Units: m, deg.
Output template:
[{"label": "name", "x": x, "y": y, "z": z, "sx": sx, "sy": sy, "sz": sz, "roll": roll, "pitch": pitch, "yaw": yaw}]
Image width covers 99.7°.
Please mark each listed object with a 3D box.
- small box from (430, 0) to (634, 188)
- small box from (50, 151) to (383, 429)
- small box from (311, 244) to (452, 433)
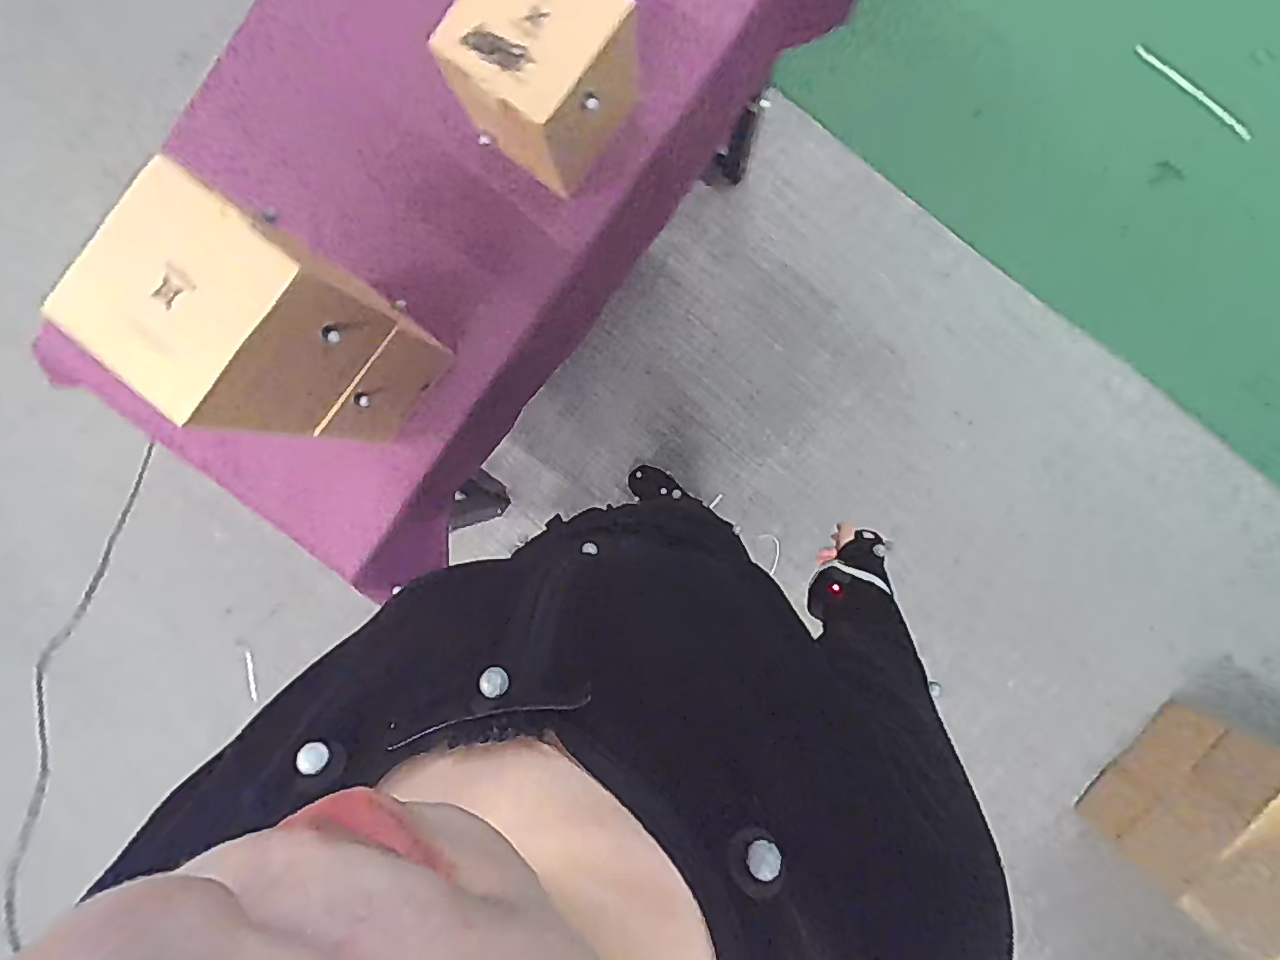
[{"label": "small box", "x": -0.120, "y": -0.517, "z": 0.683, "sx": 0.168, "sy": 0.176, "sz": 0.179, "roll": 38, "pitch": 93, "yaw": 1}, {"label": "small box", "x": -0.396, "y": -0.169, "z": 0.546, "sx": 0.168, "sy": 0.176, "sz": 0.179, "roll": 40, "pitch": 94, "yaw": 2}, {"label": "small box", "x": -0.387, "y": -0.174, "z": 0.709, "sx": 0.179, "sy": 0.176, "sz": 0.168, "roll": 38, "pitch": 94, "yaw": 2}]
